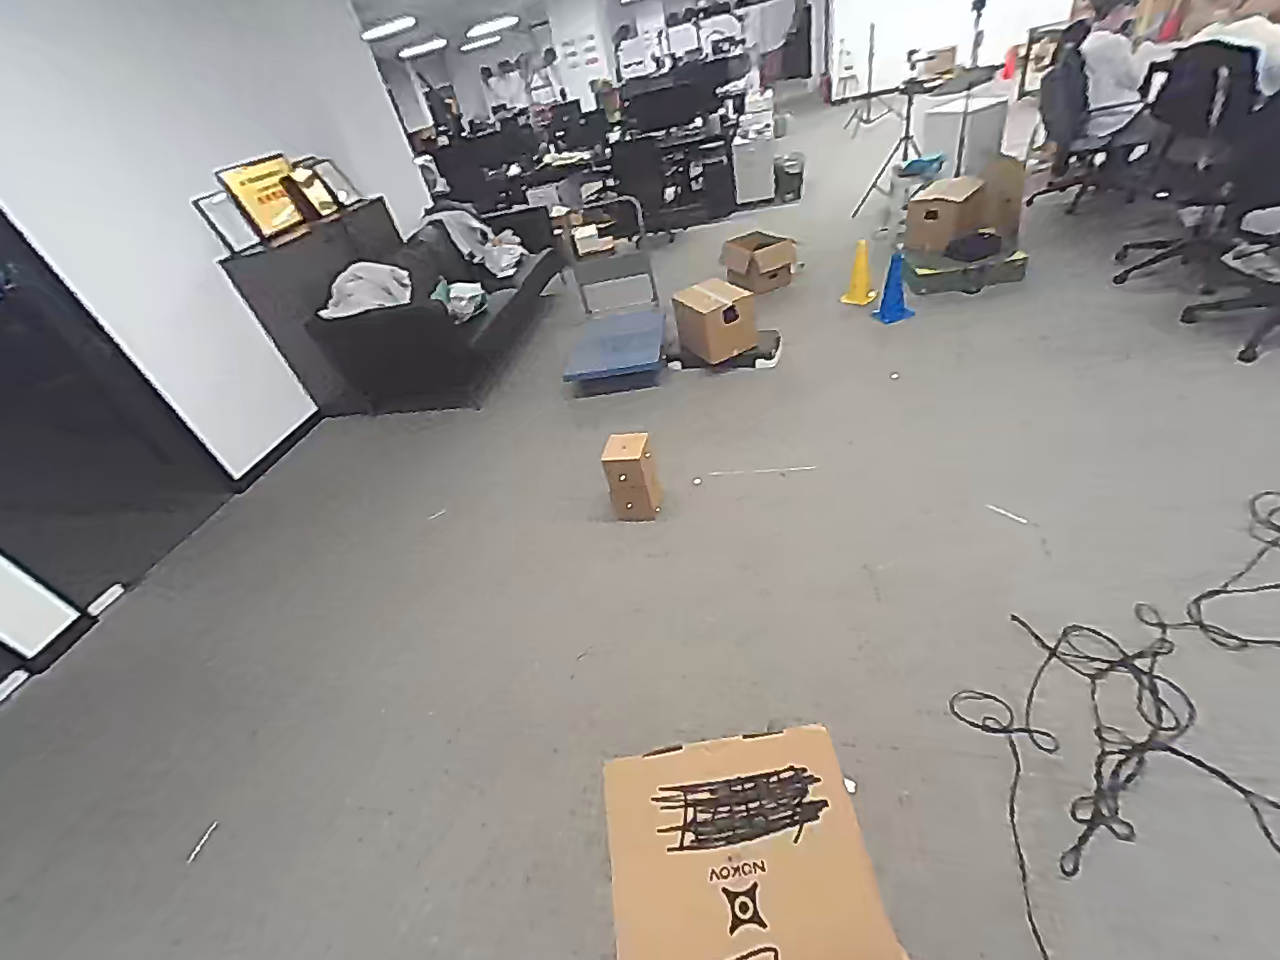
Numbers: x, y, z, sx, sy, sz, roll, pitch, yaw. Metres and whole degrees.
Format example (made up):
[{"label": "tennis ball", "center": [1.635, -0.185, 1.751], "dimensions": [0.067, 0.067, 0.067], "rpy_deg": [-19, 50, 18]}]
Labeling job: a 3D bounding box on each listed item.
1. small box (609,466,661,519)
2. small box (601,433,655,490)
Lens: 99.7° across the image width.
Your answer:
[{"label": "small box", "center": [-0.014, 0.055, 2.315], "dimensions": [0.179, 0.176, 0.168], "rpy_deg": [-3, 39, 17]}, {"label": "small box", "center": [-0.042, -0.073, 2.215], "dimensions": [0.168, 0.176, 0.179], "rpy_deg": [-1, 39, 17]}]
